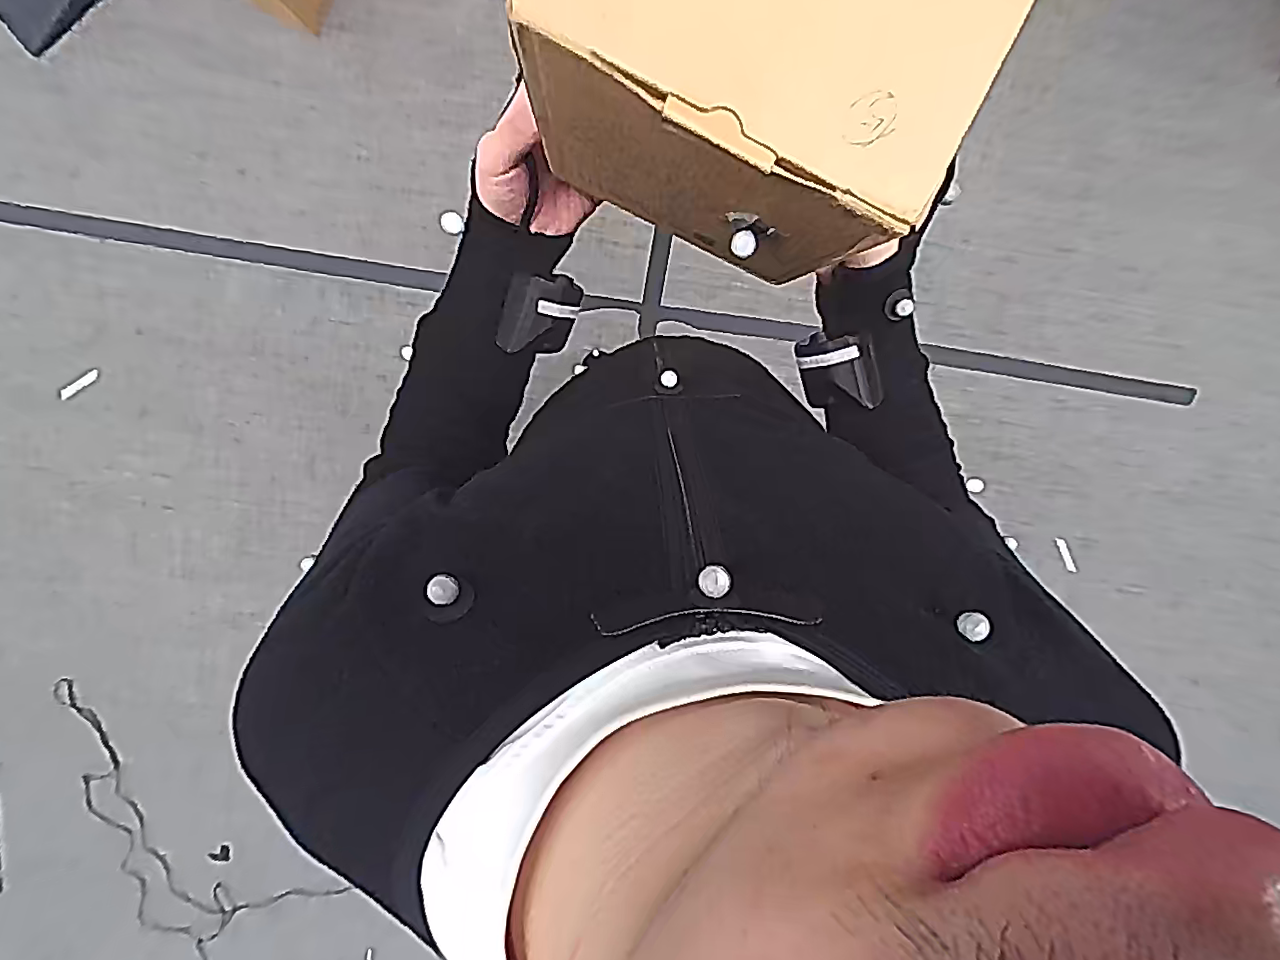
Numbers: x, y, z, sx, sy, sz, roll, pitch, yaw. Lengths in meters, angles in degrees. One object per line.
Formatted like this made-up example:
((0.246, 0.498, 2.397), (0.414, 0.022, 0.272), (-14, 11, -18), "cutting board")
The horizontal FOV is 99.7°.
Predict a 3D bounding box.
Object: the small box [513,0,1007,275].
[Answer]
((0.056, -0.223, 0.269), (0.168, 0.176, 0.179), (22, 100, -9), "small box")
